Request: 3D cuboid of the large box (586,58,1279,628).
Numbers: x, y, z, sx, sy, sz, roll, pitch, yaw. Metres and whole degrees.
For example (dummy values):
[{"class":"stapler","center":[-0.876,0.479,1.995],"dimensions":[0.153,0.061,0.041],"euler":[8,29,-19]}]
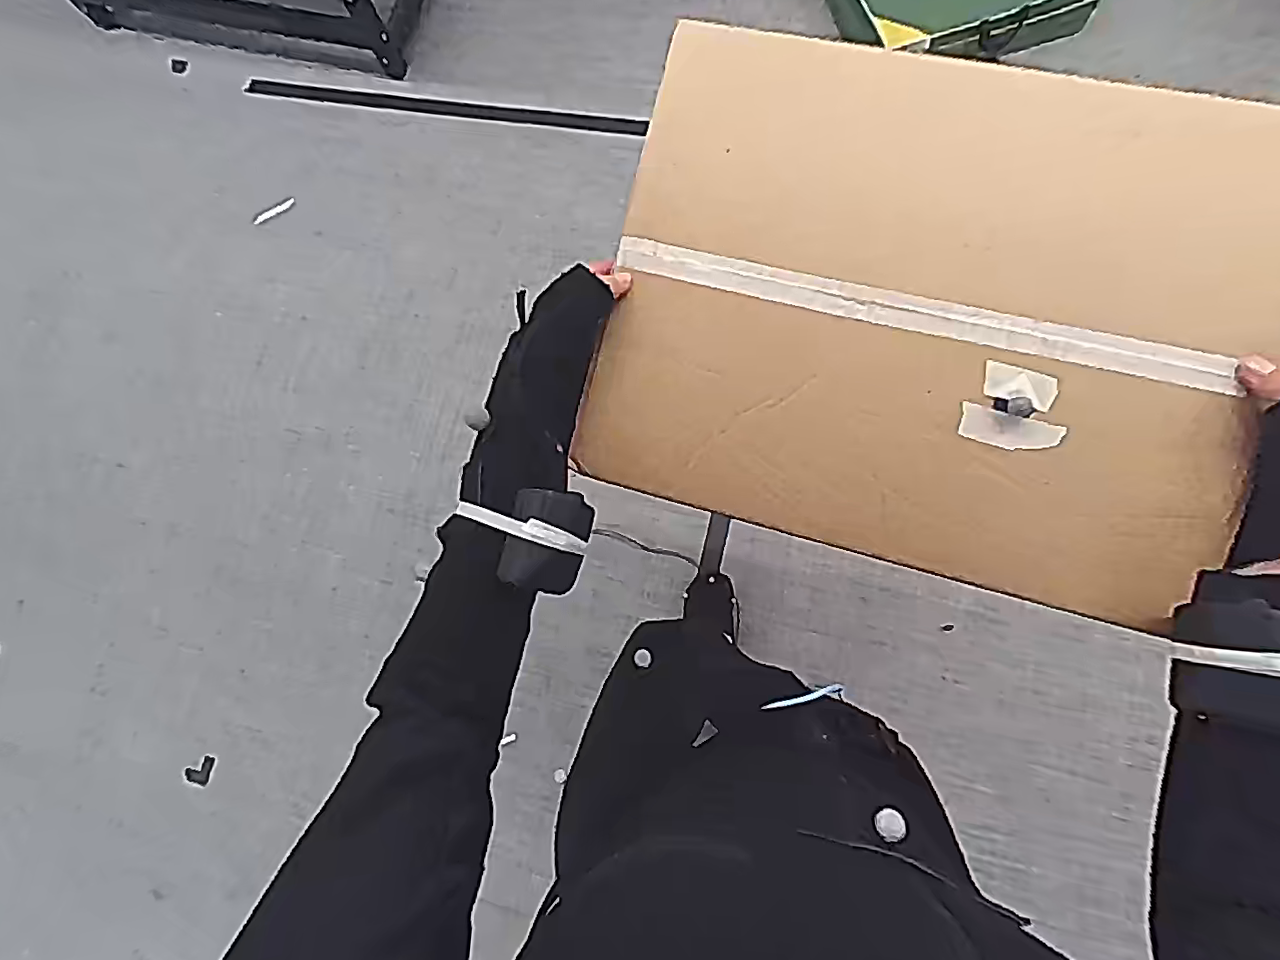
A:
[{"class":"large box","center":[0.204,-0.104,0.504],"dimensions":[0.408,0.320,0.320],"euler":[15,95,8]}]
